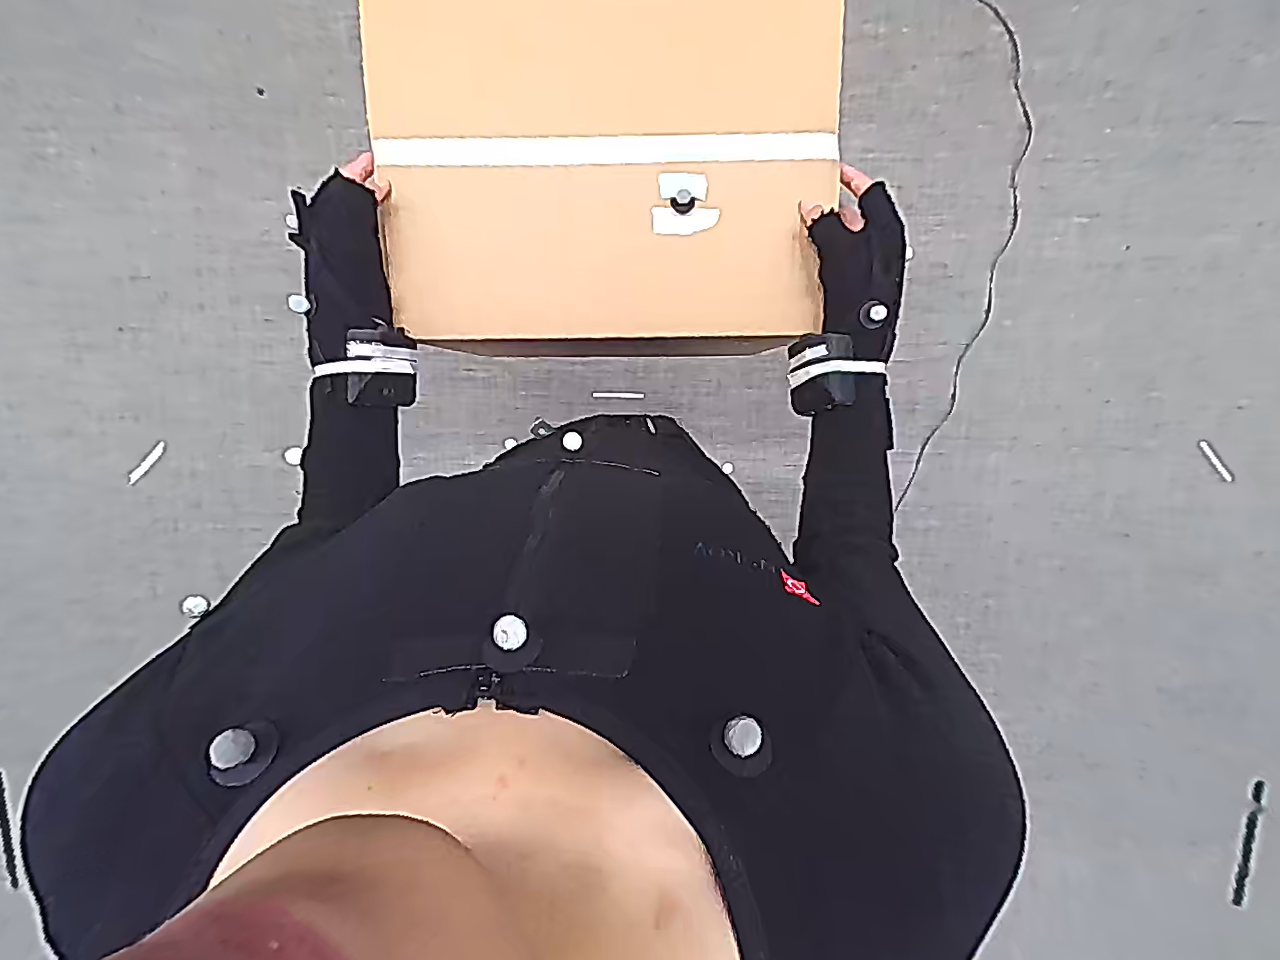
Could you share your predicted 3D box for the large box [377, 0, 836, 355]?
[{"bbox_3d":[-0.030,-0.318,0.631,0.408,0.320,0.320,-1,100,-1],"label":"large box"}]
